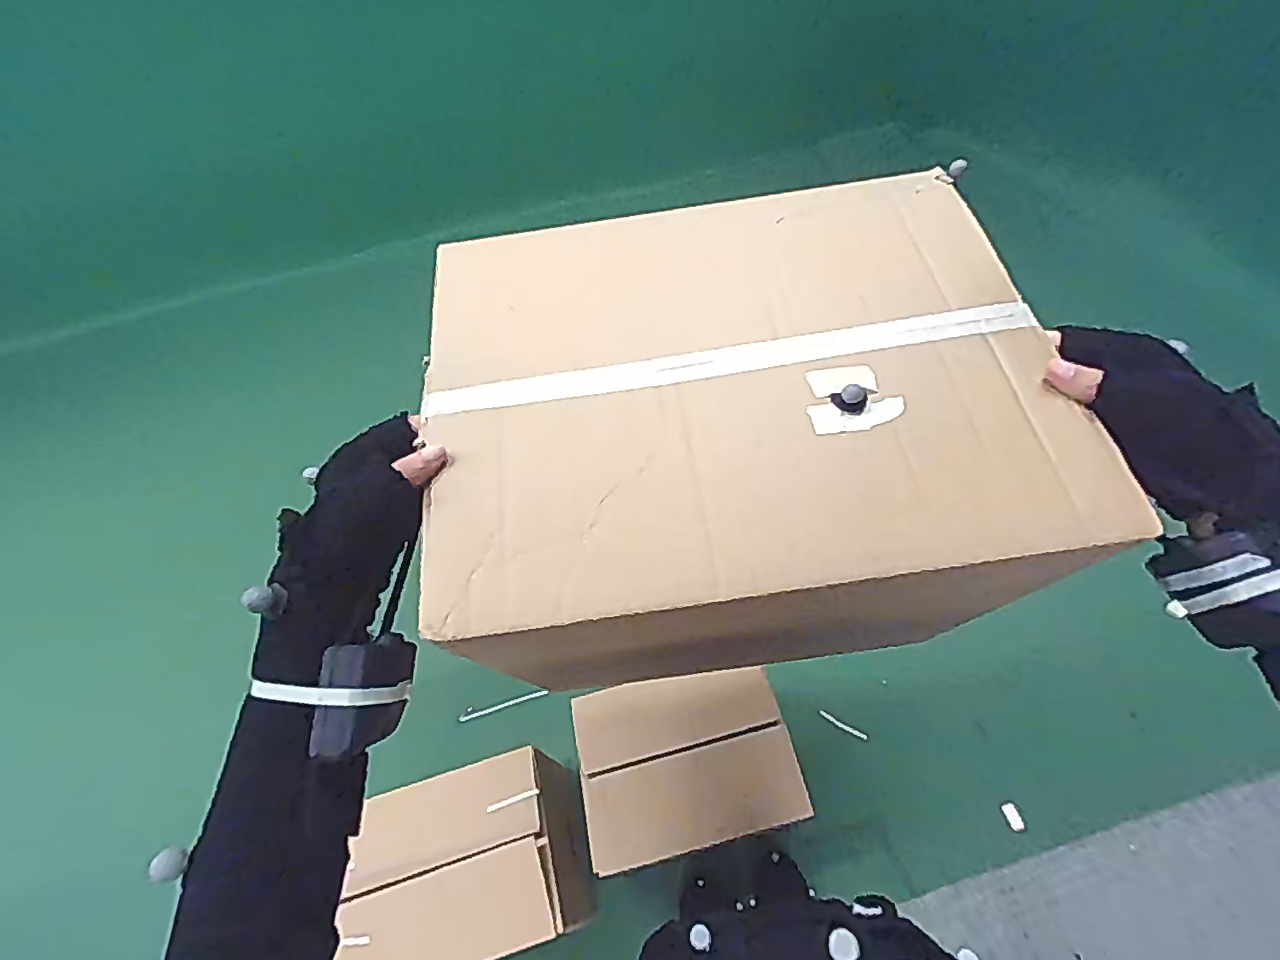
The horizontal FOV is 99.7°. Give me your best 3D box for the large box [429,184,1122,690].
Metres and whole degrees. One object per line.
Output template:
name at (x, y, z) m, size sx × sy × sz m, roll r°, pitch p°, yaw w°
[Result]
large box at (0.065, -0.011, 0.500) m, size 0.408 × 0.320 × 0.320 m, roll -8°, pitch 64°, yaw 0°
